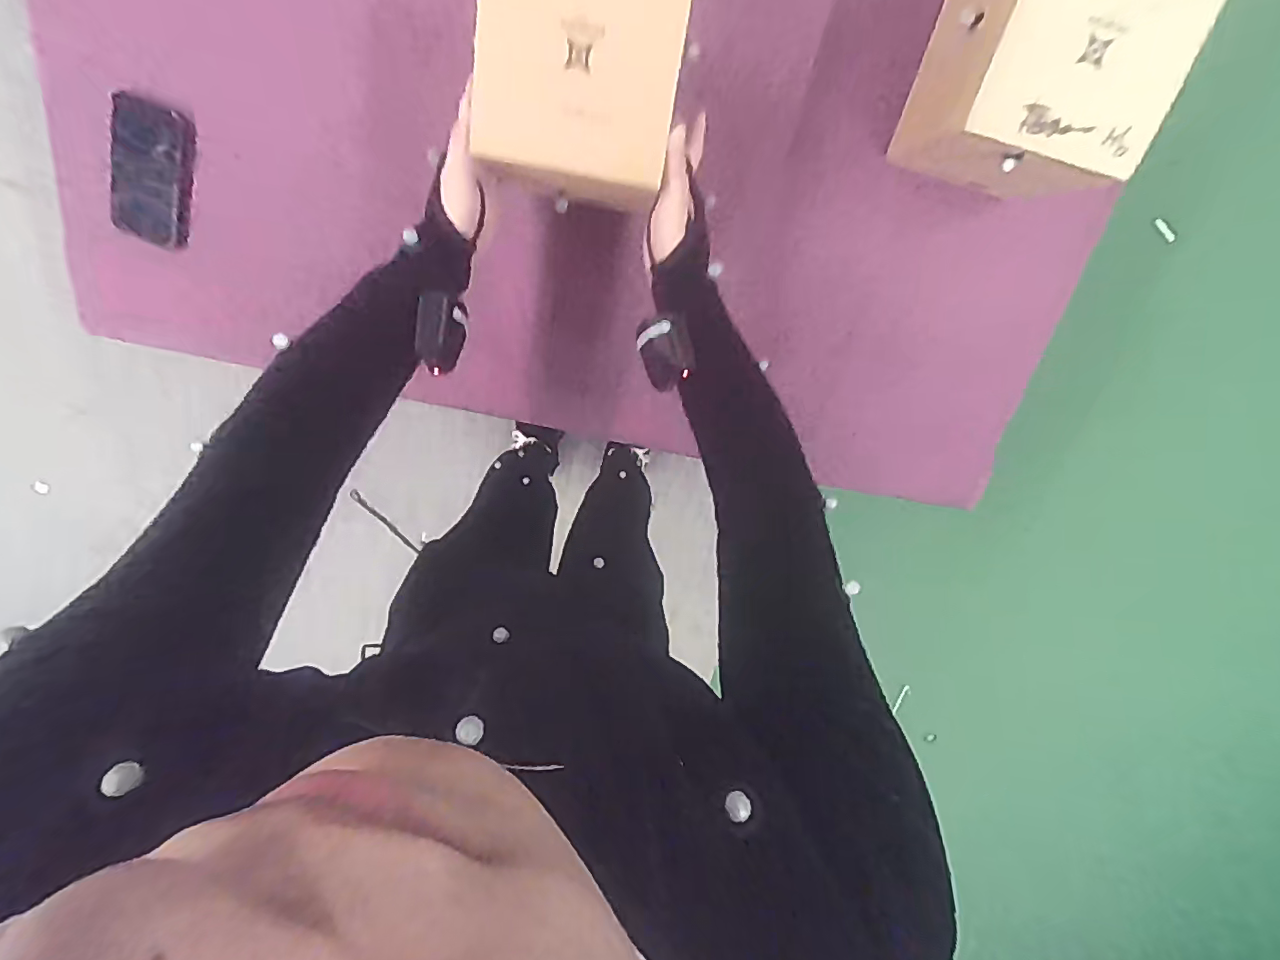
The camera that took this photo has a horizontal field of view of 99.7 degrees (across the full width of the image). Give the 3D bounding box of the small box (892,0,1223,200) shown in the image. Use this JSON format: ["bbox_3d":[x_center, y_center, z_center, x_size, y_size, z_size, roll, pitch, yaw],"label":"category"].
[{"bbox_3d":[0.375,-0.390,0.516,0.168,0.176,0.179,14,110,-5],"label":"small box"}]

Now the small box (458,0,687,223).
[{"bbox_3d":[-0.056,-0.356,0.501,0.168,0.176,0.179,10,108,-4],"label":"small box"}]
